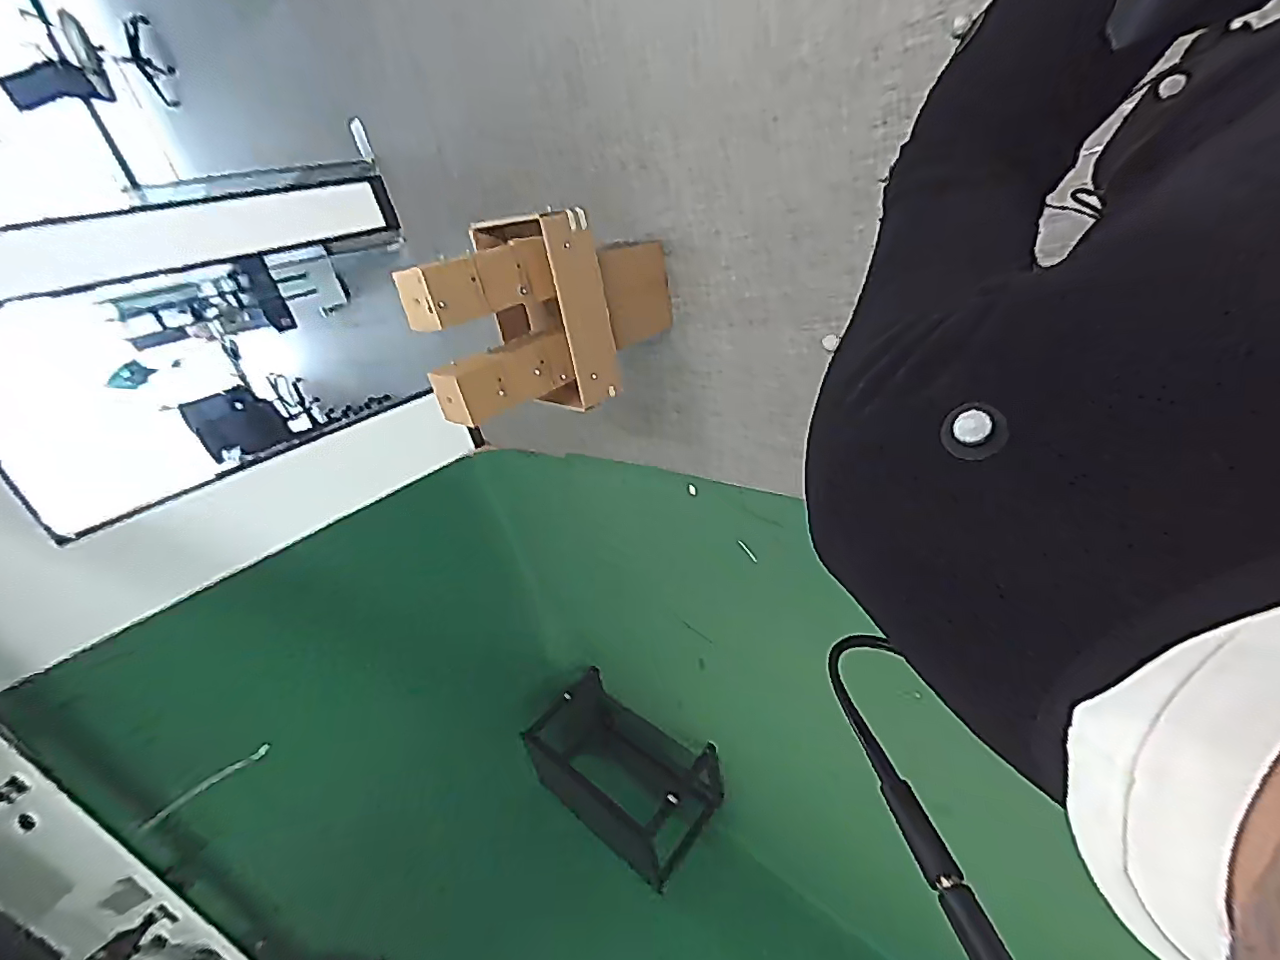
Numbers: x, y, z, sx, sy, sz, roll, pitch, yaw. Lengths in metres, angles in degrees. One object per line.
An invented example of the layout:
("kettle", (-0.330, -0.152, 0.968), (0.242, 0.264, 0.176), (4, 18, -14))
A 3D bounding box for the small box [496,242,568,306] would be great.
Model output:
("small box", (-0.362, -0.674, 1.763), (0.179, 0.176, 0.168), (18, 128, 38))

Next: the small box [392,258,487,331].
("small box", (-0.571, -0.531, 1.553), (0.179, 0.176, 0.168), (13, 126, 41))

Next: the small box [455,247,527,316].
("small box", (-0.467, -0.606, 1.656), (0.179, 0.176, 0.168), (13, 126, 42))

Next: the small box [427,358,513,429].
("small box", (-0.530, -0.276, 1.695), (0.179, 0.176, 0.168), (15, 128, 41))

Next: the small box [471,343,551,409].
("small box", (-0.424, -0.349, 1.795), (0.179, 0.176, 0.168), (14, 127, 41))
